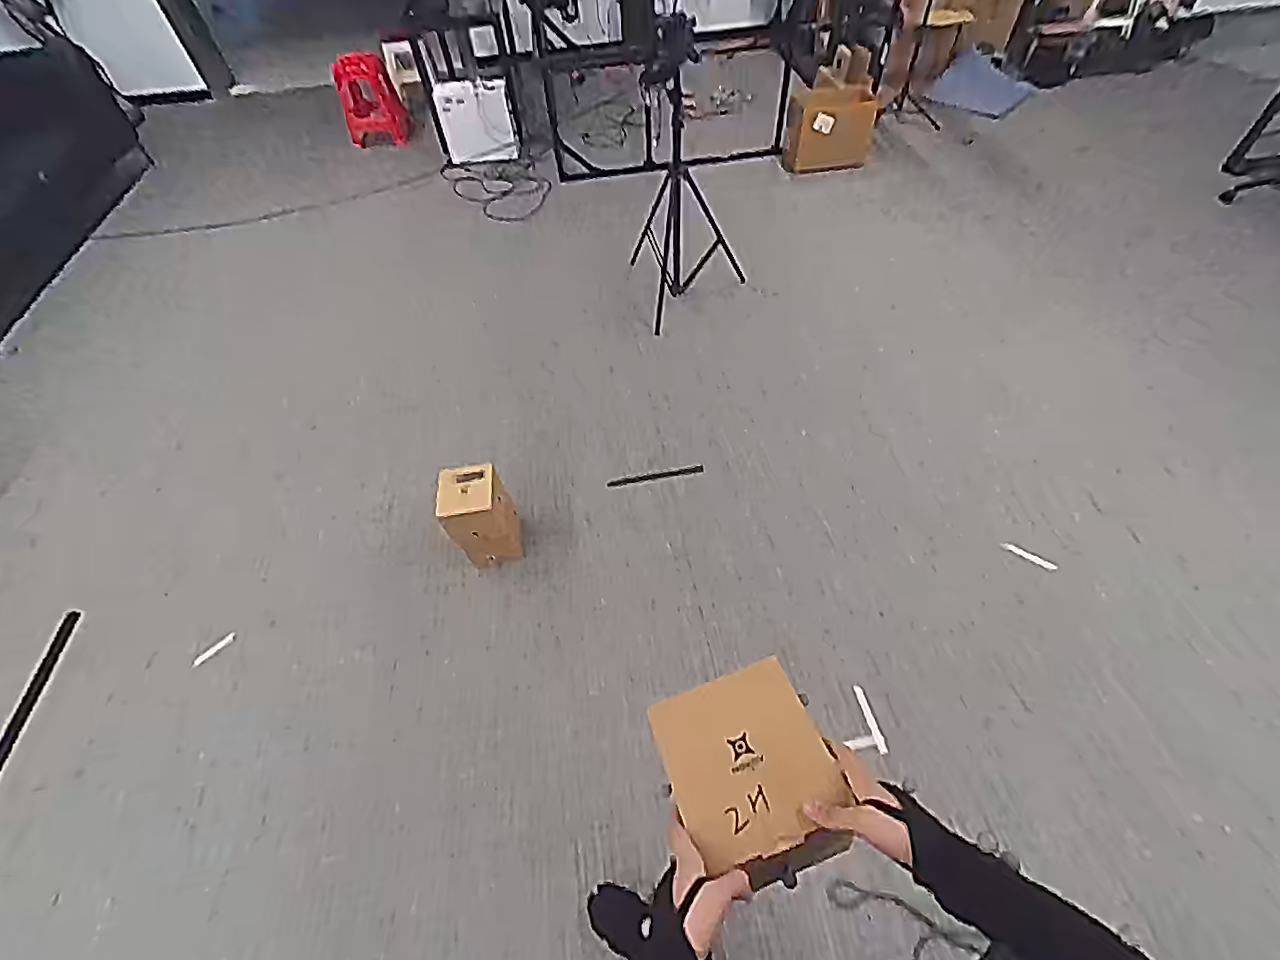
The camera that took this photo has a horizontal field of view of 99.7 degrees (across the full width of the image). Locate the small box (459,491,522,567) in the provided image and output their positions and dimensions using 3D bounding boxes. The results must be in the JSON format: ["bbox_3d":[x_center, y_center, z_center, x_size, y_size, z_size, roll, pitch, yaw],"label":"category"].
[{"bbox_3d":[-0.499,0.167,1.820,0.168,0.176,0.179,-11,53,-3],"label":"small box"}]

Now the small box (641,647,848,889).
[{"bbox_3d":[0.114,0.332,0.624,0.168,0.176,0.179,-21,45,-4],"label":"small box"}]
